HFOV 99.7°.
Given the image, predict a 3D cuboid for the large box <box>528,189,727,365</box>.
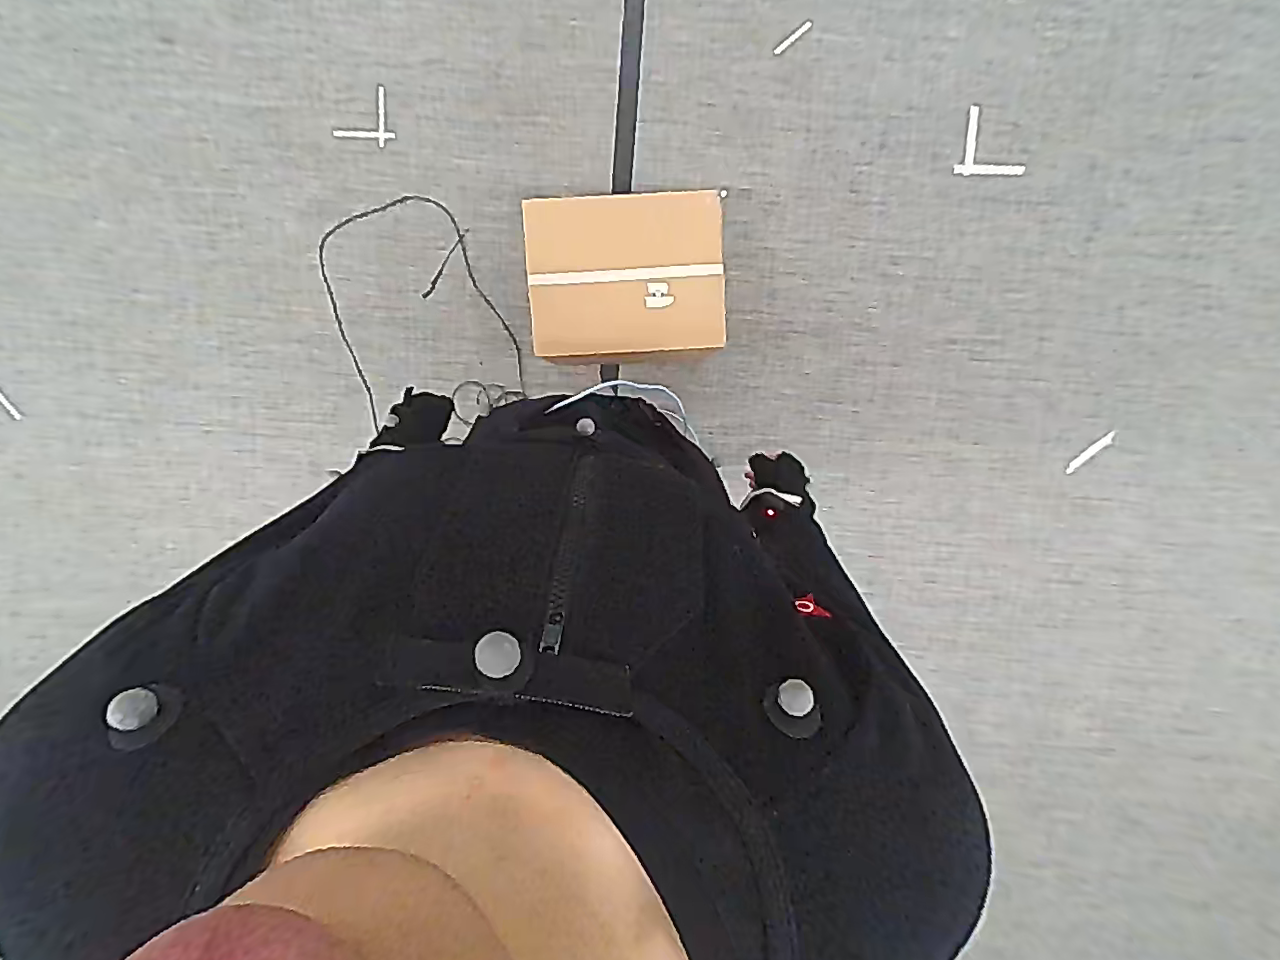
[{"bbox_3d":[-0.025,-0.449,1.266,0.408,0.320,0.320,-3,98,0],"label":"large box"}]
